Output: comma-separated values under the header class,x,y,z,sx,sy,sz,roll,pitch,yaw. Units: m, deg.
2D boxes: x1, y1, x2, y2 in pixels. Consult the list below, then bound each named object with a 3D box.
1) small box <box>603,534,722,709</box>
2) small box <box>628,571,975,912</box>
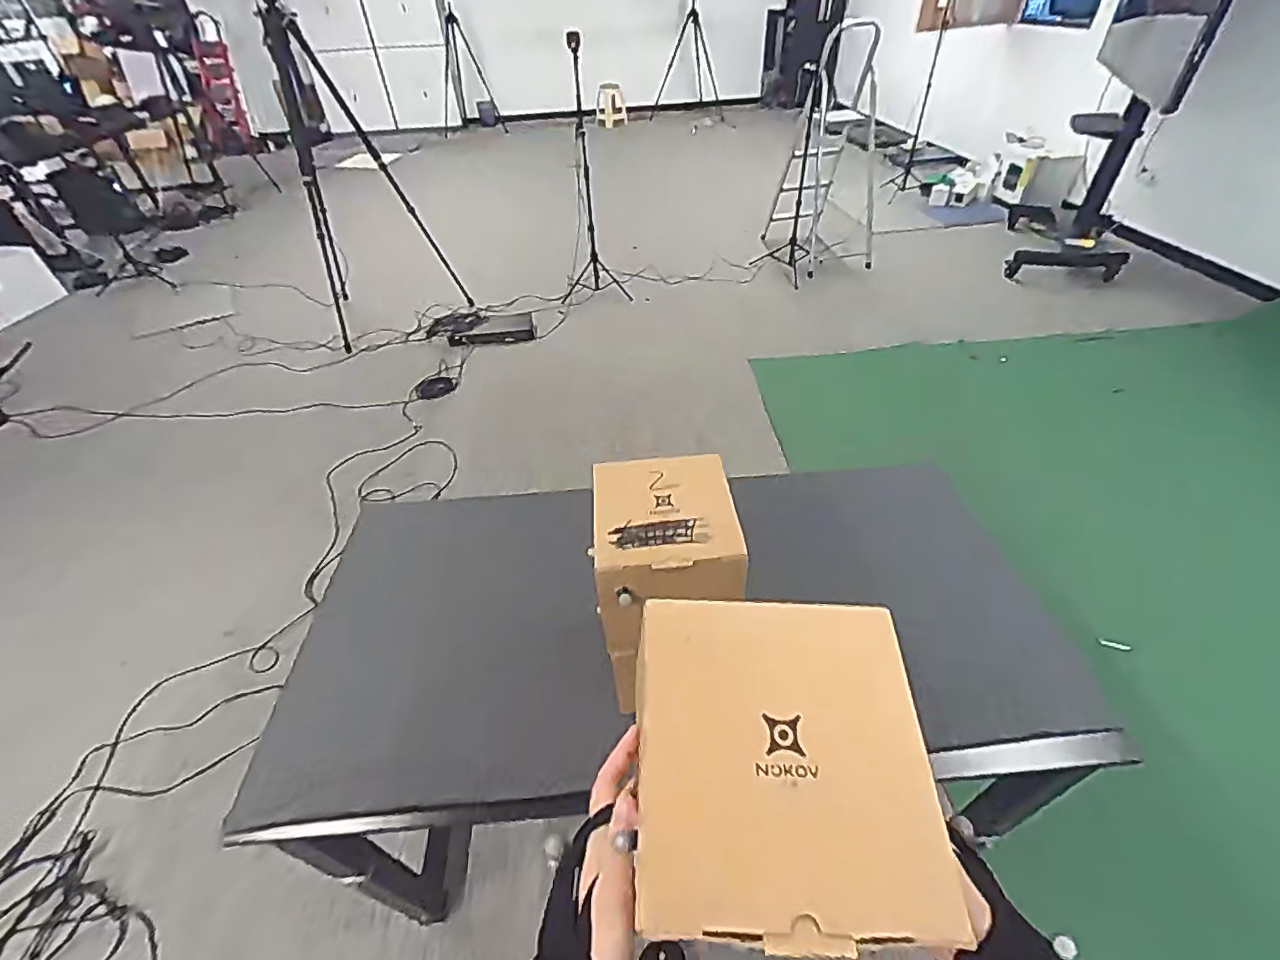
class,x,y,z,sx,sy,sz,roll,pitch,yaw
small box,0.037,0.205,0.789,0.168,0.176,0.179,-7,42,-4
small box,0.078,0.181,0.371,0.168,0.176,0.179,2,53,-1
